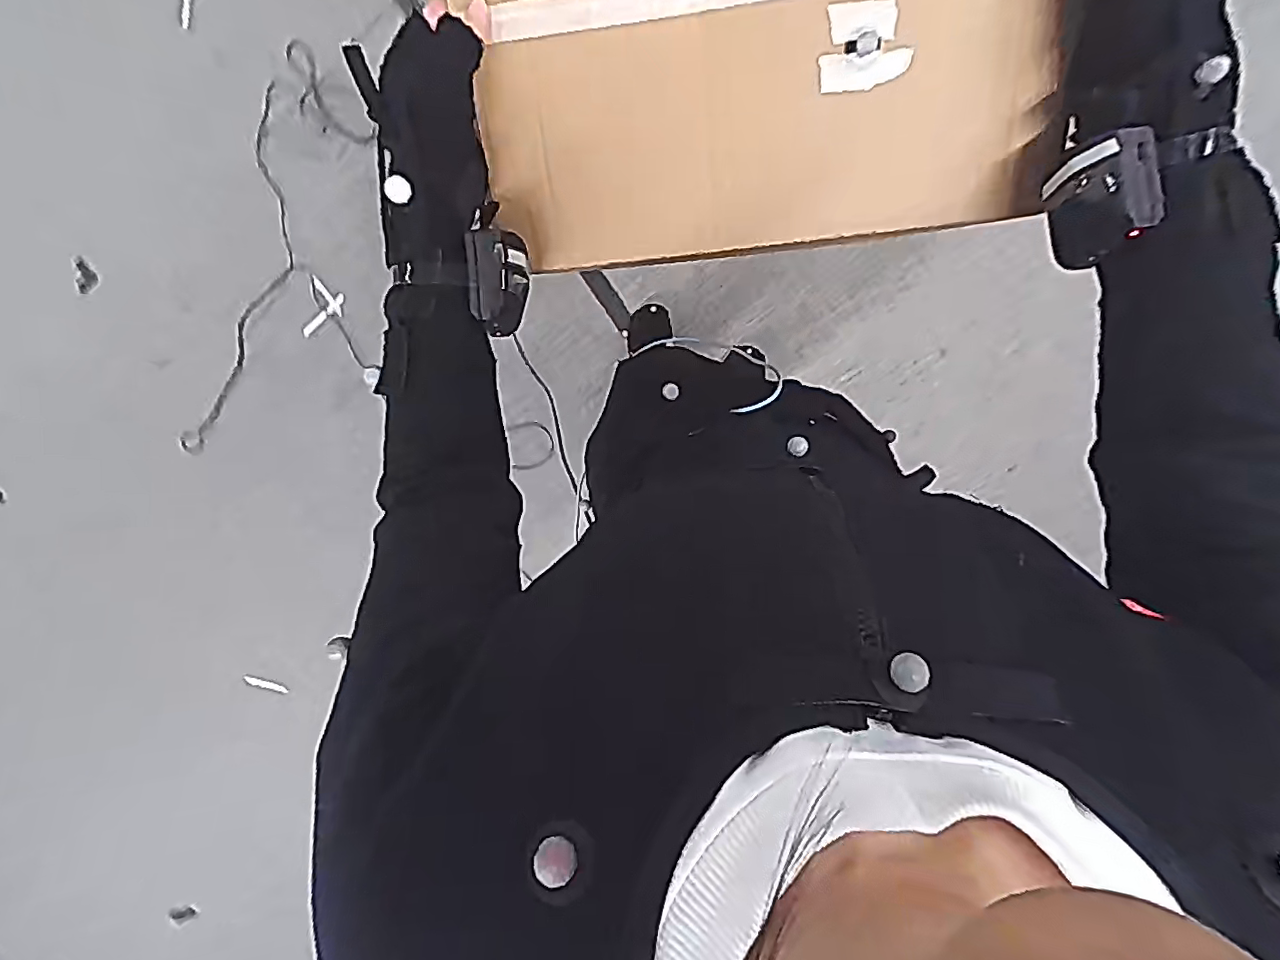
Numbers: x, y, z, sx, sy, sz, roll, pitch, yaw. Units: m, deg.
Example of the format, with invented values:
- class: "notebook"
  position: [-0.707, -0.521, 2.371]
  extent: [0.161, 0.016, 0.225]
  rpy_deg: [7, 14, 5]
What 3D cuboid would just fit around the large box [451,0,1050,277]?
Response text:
- class: "large box"
  position: [0.075, -0.379, 0.501]
  extent: [0.408, 0.320, 0.320]
  rpy_deg: [-6, 111, 5]
